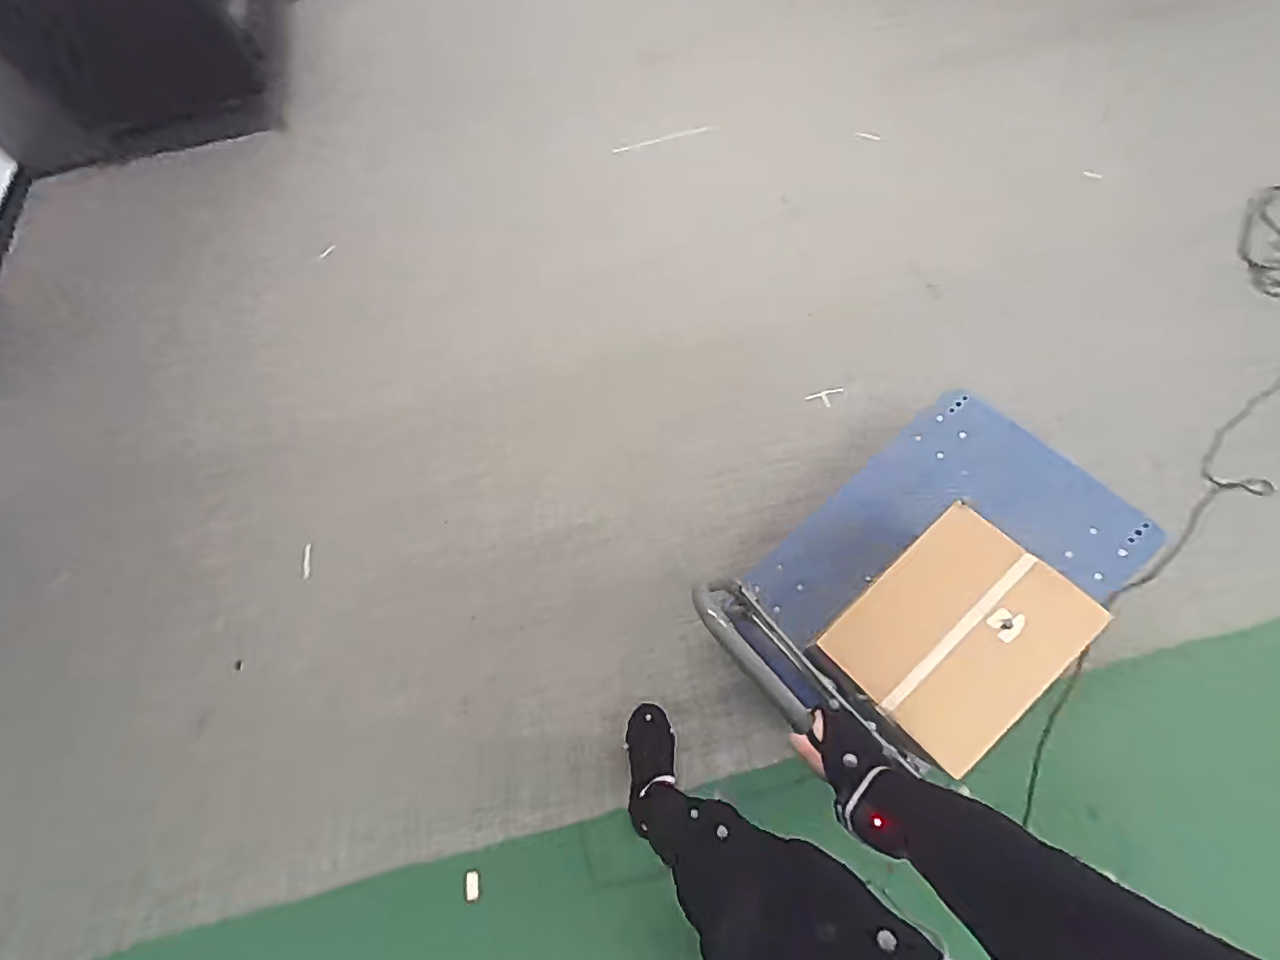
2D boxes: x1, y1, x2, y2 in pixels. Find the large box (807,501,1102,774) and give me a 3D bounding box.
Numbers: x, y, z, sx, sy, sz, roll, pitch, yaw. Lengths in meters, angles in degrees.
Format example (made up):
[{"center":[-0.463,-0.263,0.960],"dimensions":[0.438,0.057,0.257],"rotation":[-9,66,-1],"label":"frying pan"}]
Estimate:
[{"center":[0.608,0.323,1.130],"dimensions":[0.408,0.320,0.320],"rotation":[-43,68,-4],"label":"large box"}]
